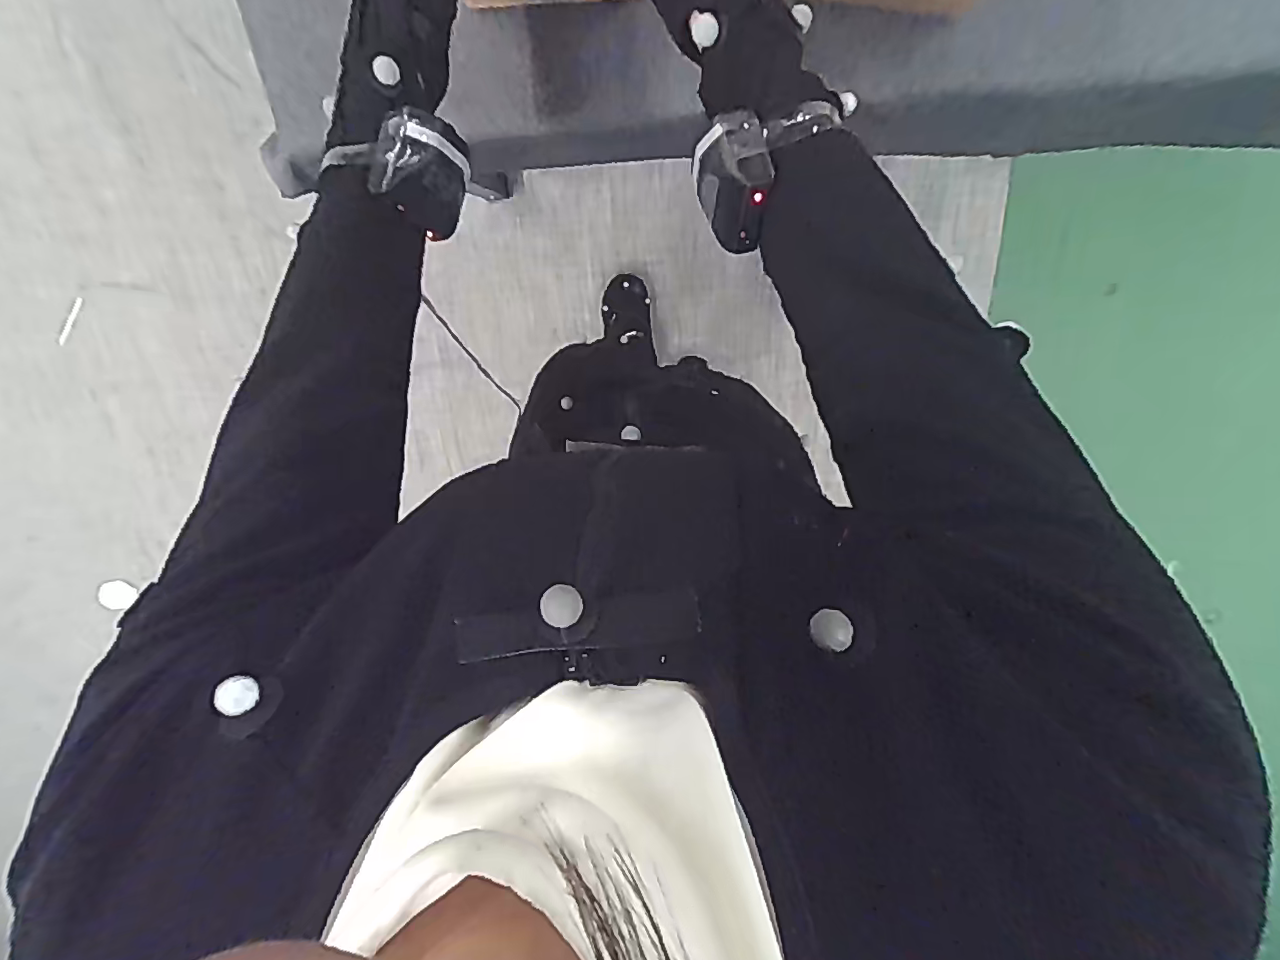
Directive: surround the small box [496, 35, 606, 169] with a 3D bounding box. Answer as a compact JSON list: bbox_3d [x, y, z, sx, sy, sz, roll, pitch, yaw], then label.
[{"bbox_3d":[-0.168,-0.746,1.092,0.168,0.176,0.179,-13,112,4],"label":"small box"}]
